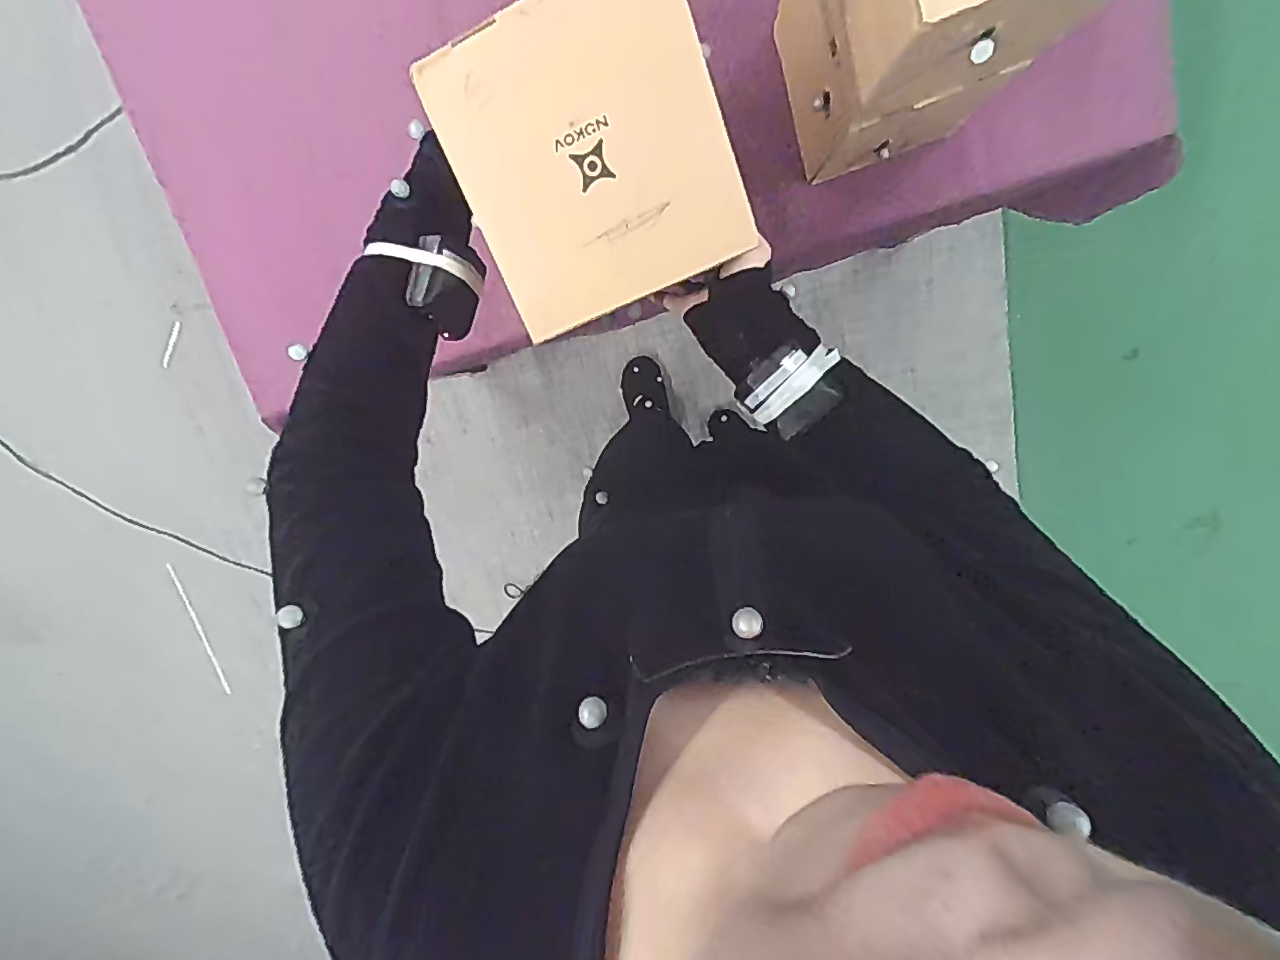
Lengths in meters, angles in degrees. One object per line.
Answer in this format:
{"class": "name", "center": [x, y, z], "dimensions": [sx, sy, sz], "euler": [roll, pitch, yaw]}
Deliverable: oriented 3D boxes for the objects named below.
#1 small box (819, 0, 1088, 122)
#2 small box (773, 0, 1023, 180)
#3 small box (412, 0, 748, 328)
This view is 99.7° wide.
{"class": "small box", "center": [0.233, -0.402, 0.392], "dimensions": [0.179, 0.176, 0.168], "euler": [-17, 102, 9]}
{"class": "small box", "center": [0.243, -0.444, 0.549], "dimensions": [0.168, 0.176, 0.179], "euler": [-15, 101, 8]}
{"class": "small box", "center": [-0.031, -0.233, 0.413], "dimensions": [0.168, 0.176, 0.179], "euler": [-19, 109, 10]}
